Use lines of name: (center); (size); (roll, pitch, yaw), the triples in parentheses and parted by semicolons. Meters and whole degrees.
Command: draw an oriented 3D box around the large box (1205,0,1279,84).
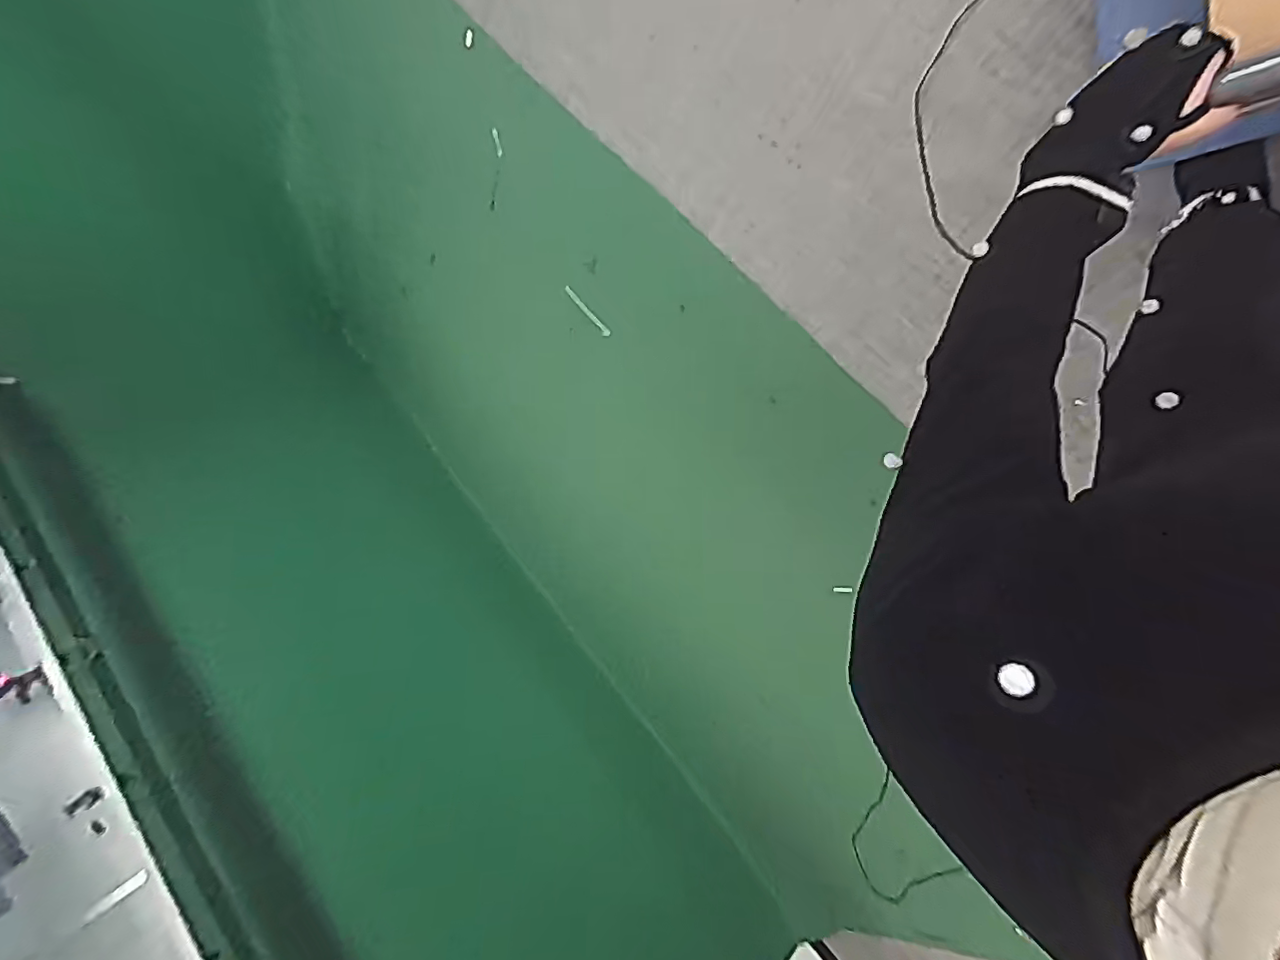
large box: (0.866, -0.742, 0.600); (0.320, 0.320, 0.408); (2, 115, 48)
